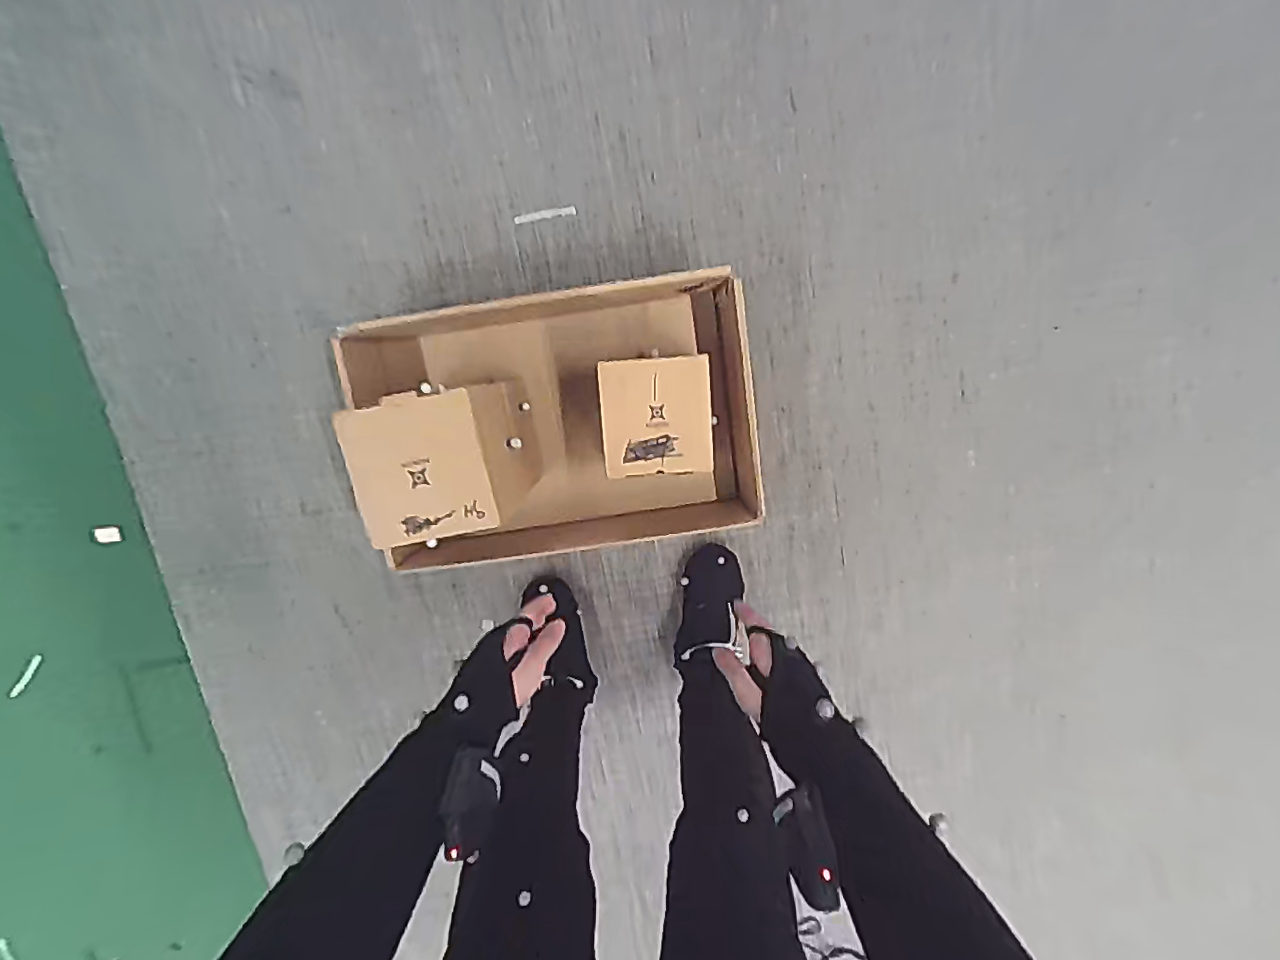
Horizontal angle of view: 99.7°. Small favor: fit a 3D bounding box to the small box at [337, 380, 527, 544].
[{"bbox_3d":[-0.261,-0.032,0.721,0.168,0.176,0.179,-10,101,2],"label":"small box"}]
